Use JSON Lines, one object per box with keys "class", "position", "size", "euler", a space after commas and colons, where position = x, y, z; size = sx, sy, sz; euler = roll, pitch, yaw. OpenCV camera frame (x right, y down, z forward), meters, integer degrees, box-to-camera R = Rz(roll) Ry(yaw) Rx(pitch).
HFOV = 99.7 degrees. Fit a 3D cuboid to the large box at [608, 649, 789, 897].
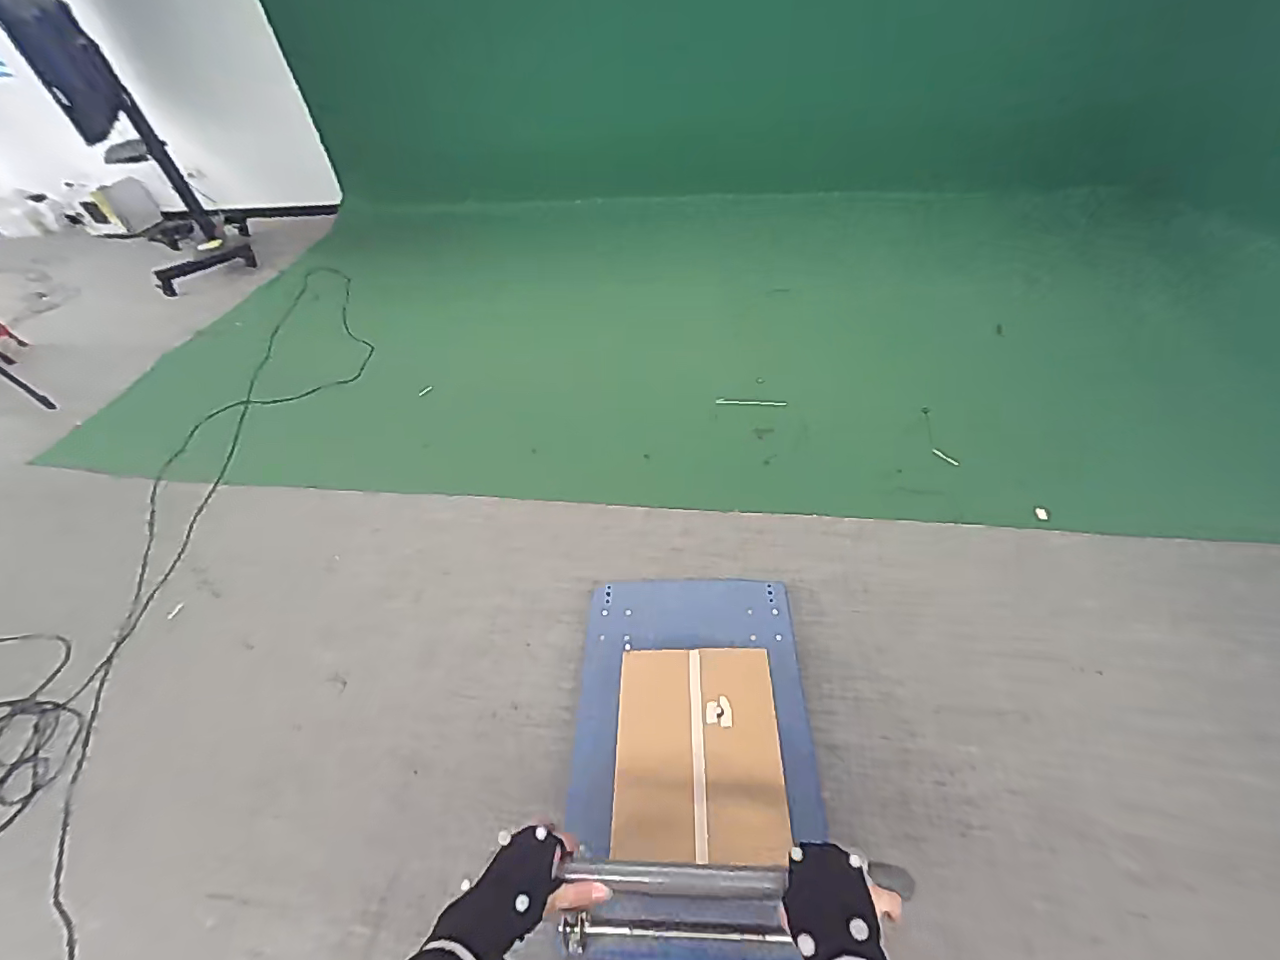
{"class": "large box", "position": [0.117, 0.621, 1.155], "size": [0.320, 0.320, 0.408], "euler": [-2, 46, 5]}
